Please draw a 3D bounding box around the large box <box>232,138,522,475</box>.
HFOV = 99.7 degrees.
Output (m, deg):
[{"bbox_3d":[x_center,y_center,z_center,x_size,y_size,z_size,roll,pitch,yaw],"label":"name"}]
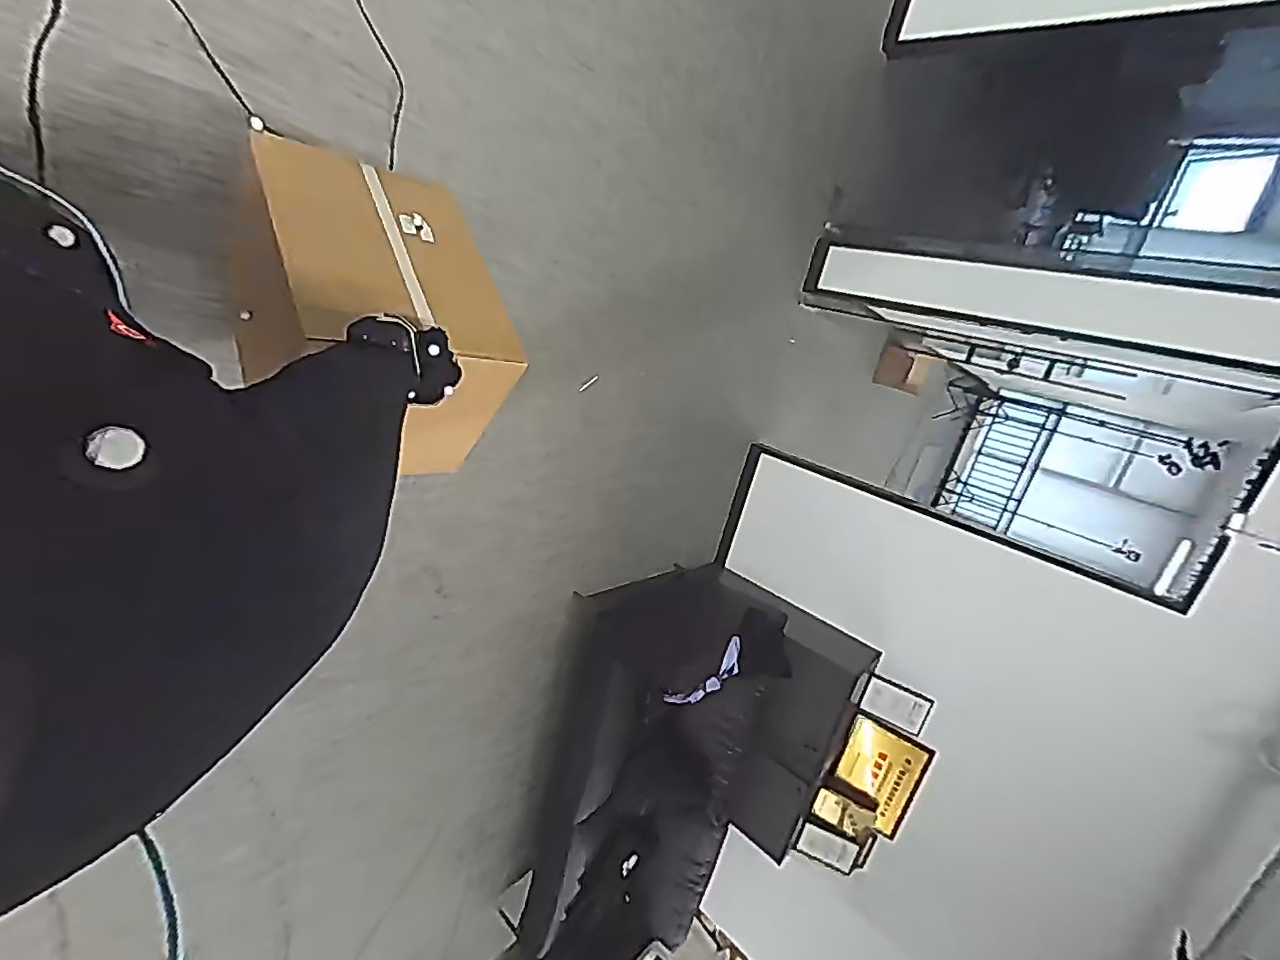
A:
[{"bbox_3d":[-0.460,-0.261,0.913,0.320,0.408,0.320,-4,150,-45],"label":"large box"}]
